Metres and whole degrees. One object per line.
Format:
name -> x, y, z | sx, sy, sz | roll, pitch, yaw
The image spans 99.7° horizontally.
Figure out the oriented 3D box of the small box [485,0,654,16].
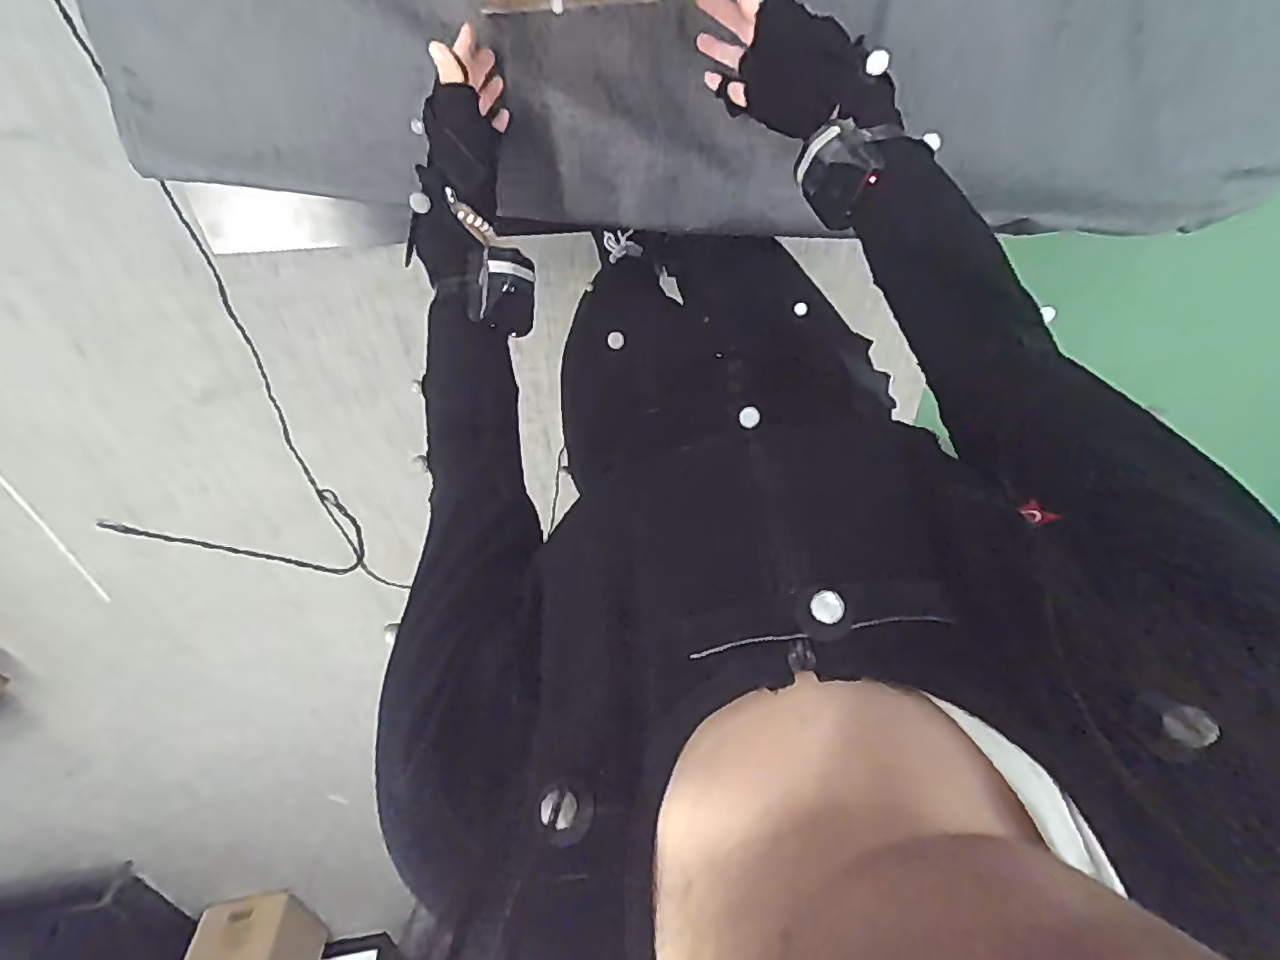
small box -> -0.057, -0.458, 0.381 | 0.168, 0.176, 0.179 | -8, 125, -5
